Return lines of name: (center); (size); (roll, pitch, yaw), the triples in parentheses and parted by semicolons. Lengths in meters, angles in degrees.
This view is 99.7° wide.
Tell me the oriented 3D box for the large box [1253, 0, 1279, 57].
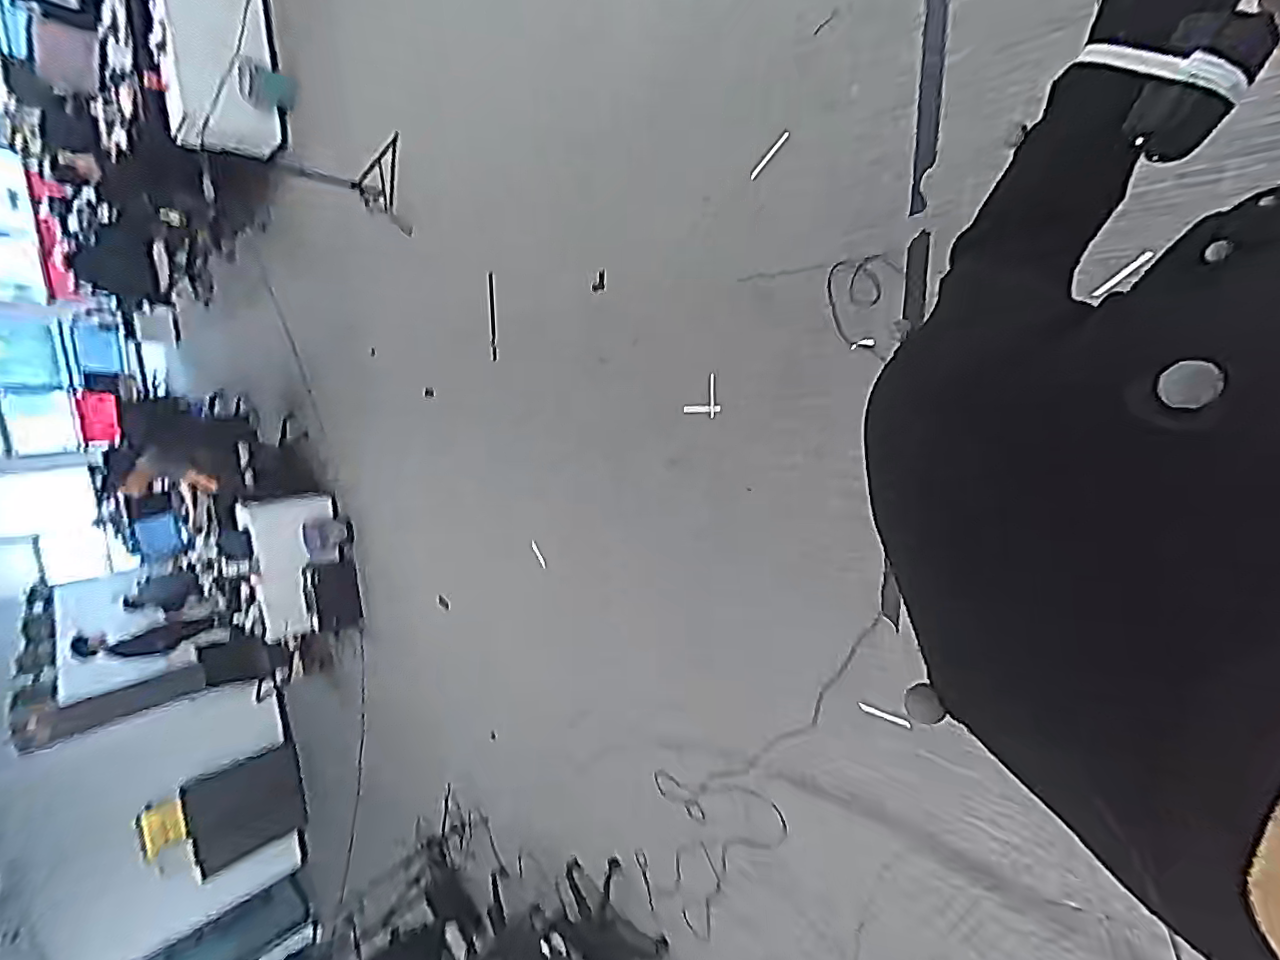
large box: (0.602, -0.354, 0.205); (0.408, 0.320, 0.320); (35, 136, 30)
